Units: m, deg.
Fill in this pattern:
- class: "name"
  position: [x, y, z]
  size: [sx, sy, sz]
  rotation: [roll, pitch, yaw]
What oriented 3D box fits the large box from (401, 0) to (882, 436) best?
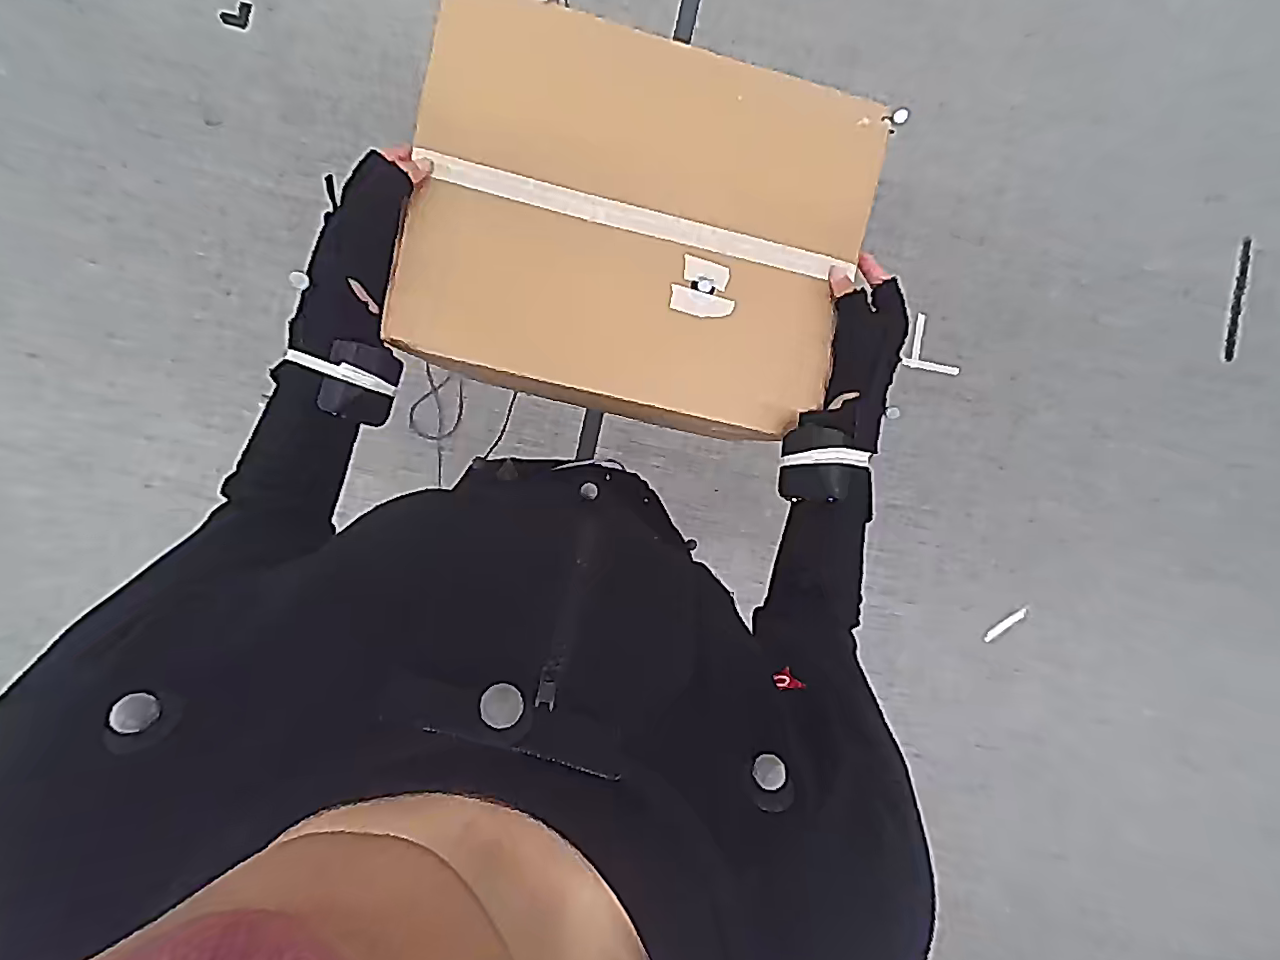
- class: "large box"
  position: [-0.010, -0.242, 0.644]
  size: [0.408, 0.320, 0.320]
  rotation: [12, 94, -7]
